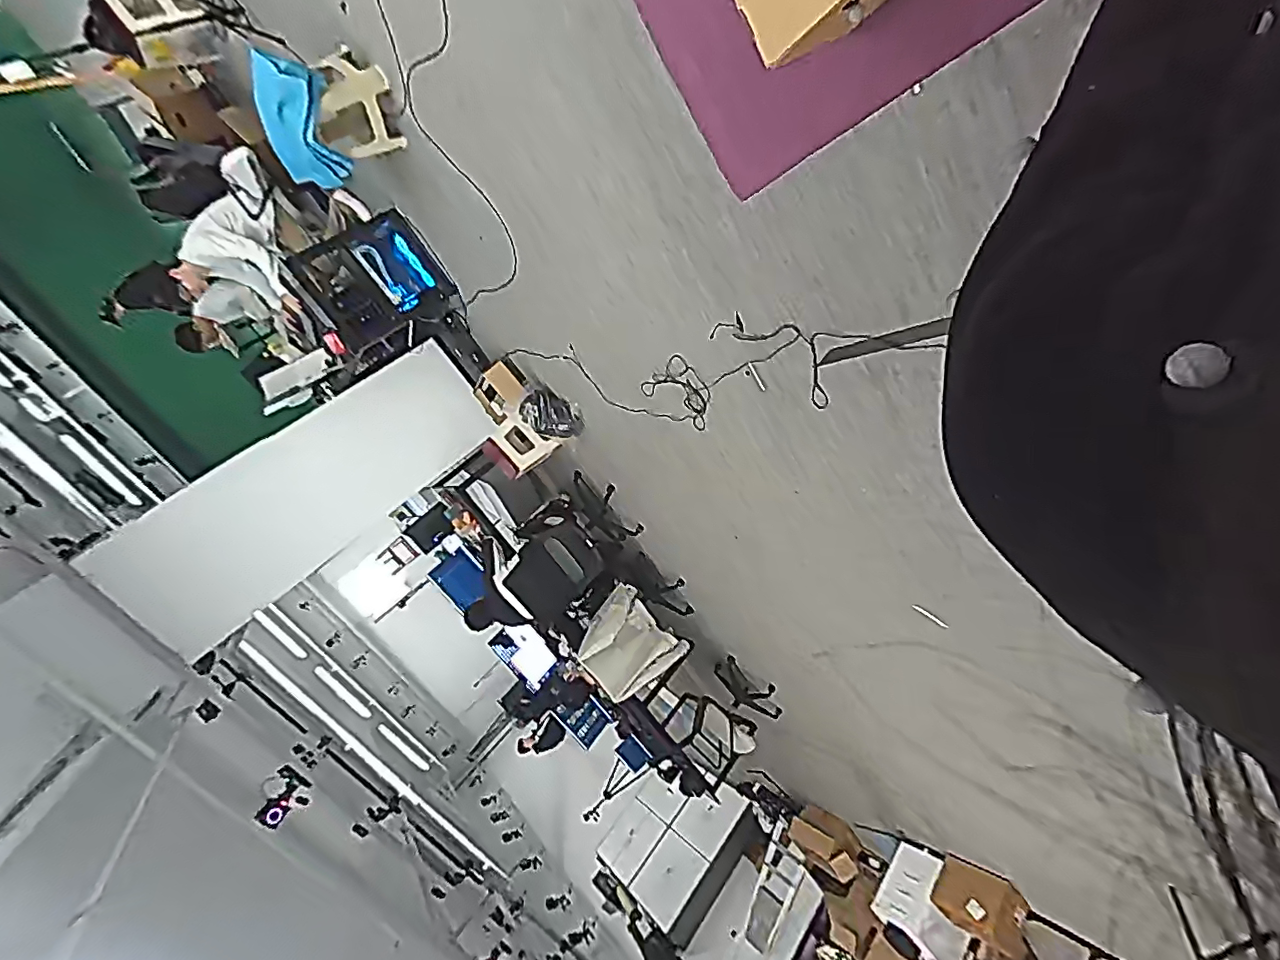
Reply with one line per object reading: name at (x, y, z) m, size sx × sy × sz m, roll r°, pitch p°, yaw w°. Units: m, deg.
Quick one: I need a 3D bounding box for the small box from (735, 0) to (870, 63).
small box at (0.182, -0.541, 0.490) m, size 0.168 × 0.176 × 0.179 m, roll 56°, pitch 153°, yaw -18°
